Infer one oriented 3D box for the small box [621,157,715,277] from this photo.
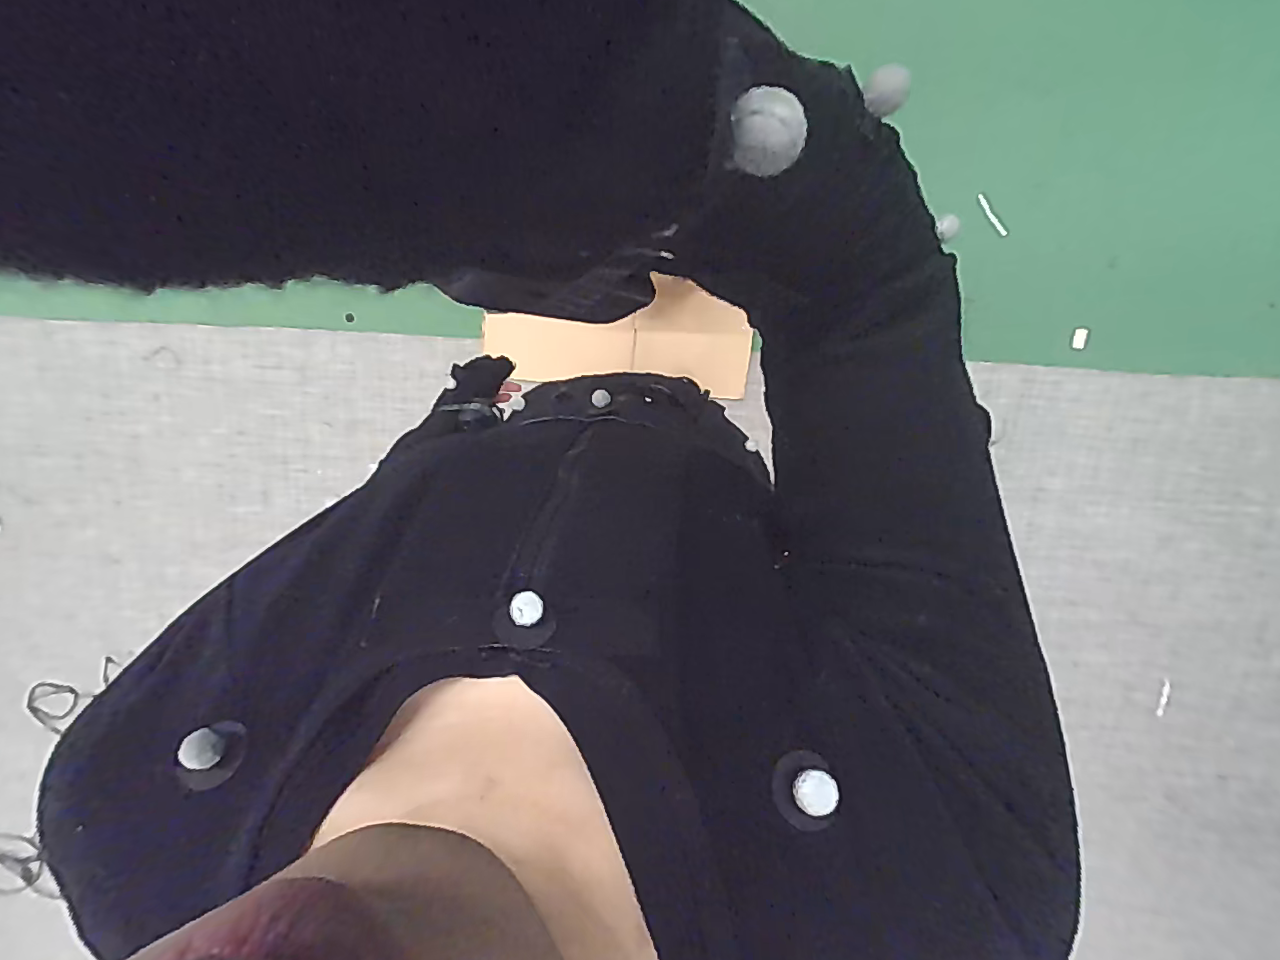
[{"bbox_3d":[0.057,-0.525,1.098,0.168,0.176,0.179,5,100,4],"label":"small box"}]
